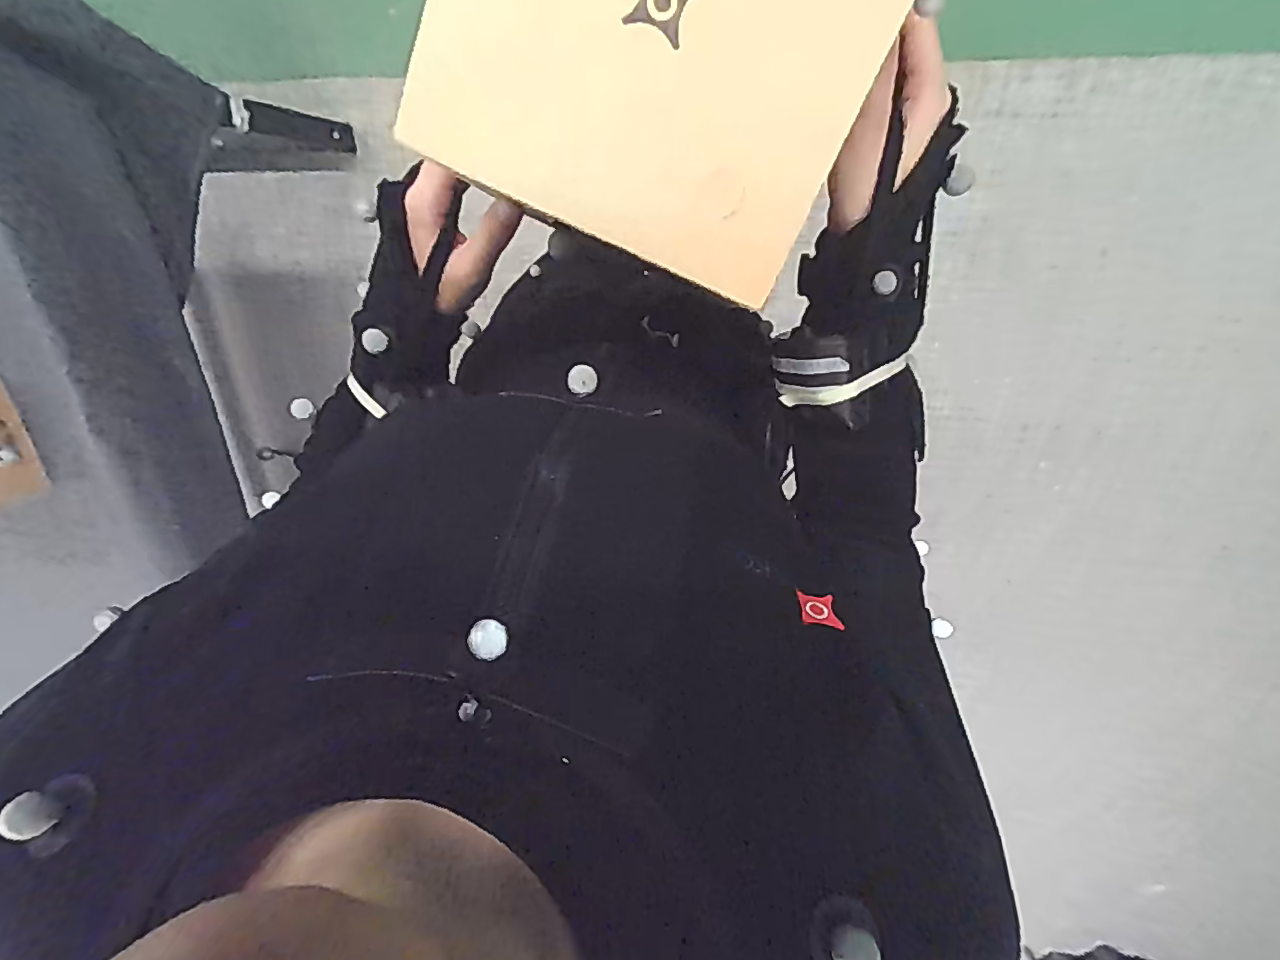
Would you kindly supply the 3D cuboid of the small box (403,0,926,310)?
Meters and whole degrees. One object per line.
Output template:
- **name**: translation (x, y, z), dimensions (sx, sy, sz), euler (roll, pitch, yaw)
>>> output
- **small box**: translation (0.021, -0.199, 0.265), dimensions (0.168, 0.176, 0.179), euler (24, 108, -3)
